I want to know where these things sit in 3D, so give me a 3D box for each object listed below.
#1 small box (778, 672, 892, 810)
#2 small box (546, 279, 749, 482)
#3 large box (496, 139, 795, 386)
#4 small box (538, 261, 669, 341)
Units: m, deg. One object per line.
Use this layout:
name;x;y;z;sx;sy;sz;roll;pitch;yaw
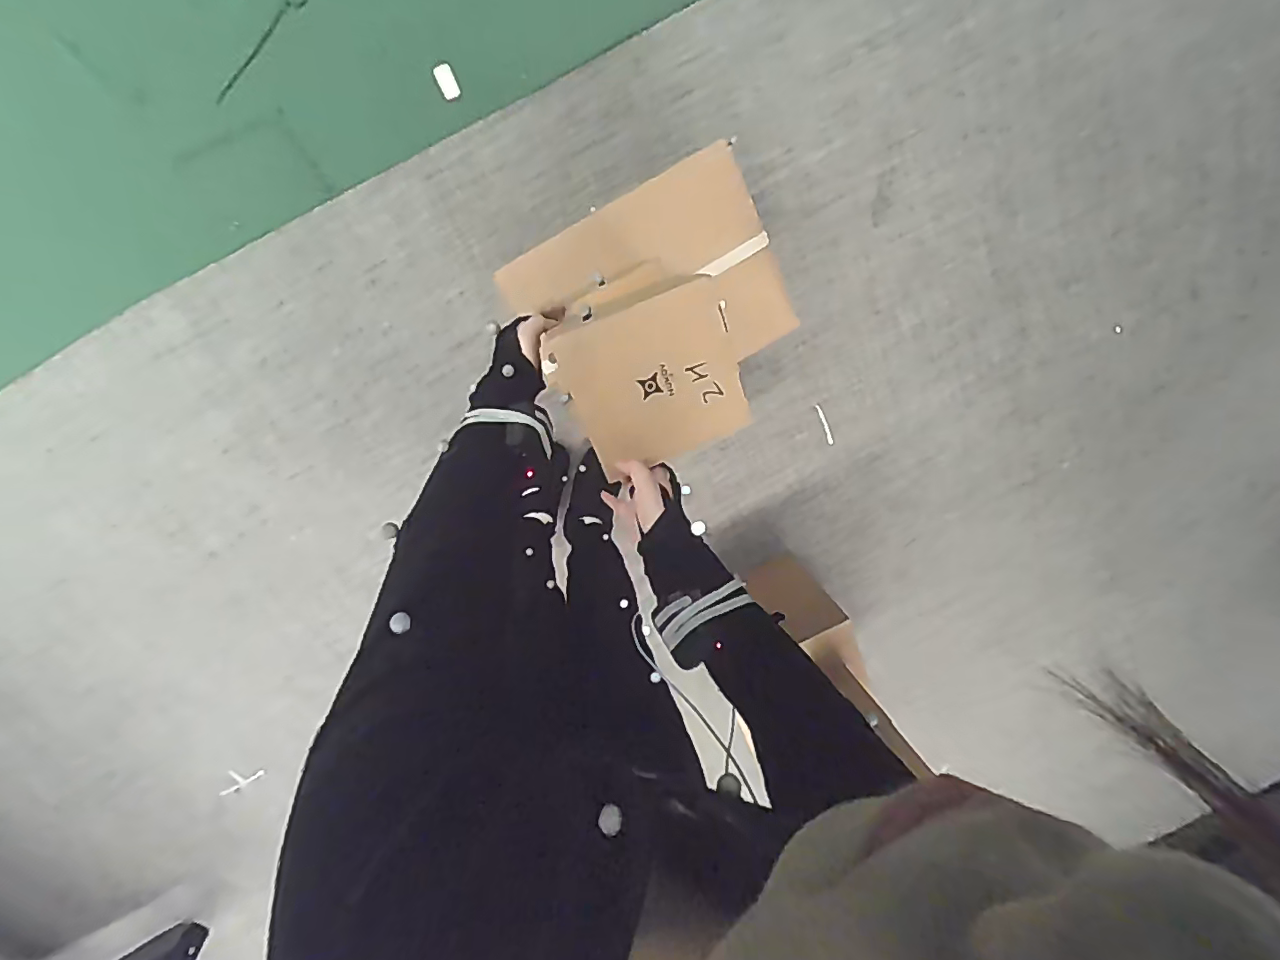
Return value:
small box;0.414;0.546;1.139;0.168;0.176;0.179;-22;113;-5
small box;0.001;-0.124;0.633;0.179;0.176;0.168;-22;113;-3
large box;-0.004;-0.333;0.996;0.408;0.320;0.320;-30;113;0
small box;-0.032;-0.195;0.778;0.179;0.176;0.168;-27;112;-1
